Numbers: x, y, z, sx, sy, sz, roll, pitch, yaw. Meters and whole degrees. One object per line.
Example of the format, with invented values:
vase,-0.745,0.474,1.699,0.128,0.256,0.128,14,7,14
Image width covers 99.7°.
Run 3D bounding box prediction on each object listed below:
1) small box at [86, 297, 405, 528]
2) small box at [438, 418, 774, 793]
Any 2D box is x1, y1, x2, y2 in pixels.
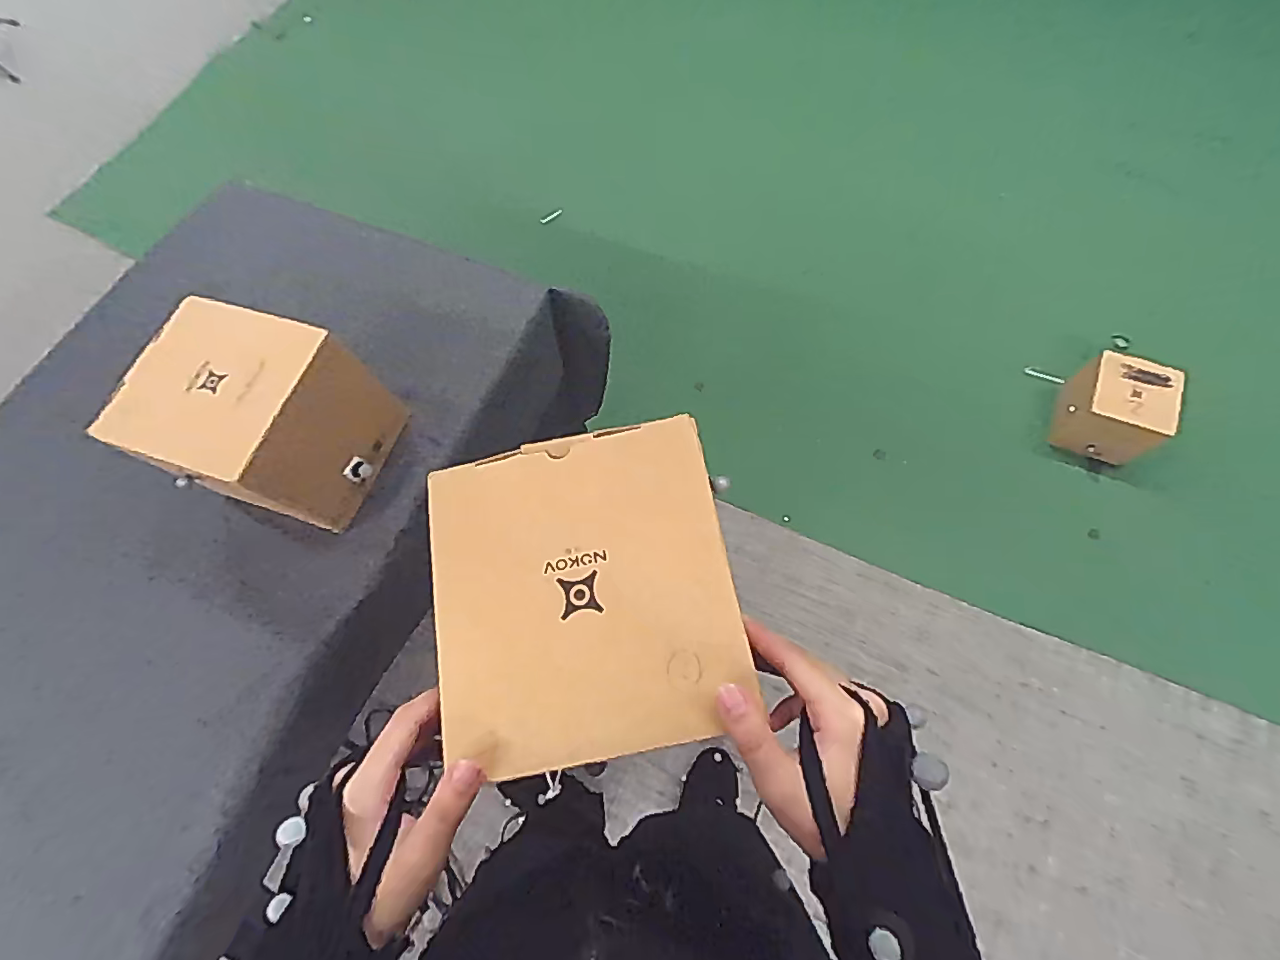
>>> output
small box,-0.394,-0.061,0.577,0.179,0.176,0.168,15,72,10
small box,-0.017,0.085,0.368,0.168,0.176,0.179,-13,70,2
